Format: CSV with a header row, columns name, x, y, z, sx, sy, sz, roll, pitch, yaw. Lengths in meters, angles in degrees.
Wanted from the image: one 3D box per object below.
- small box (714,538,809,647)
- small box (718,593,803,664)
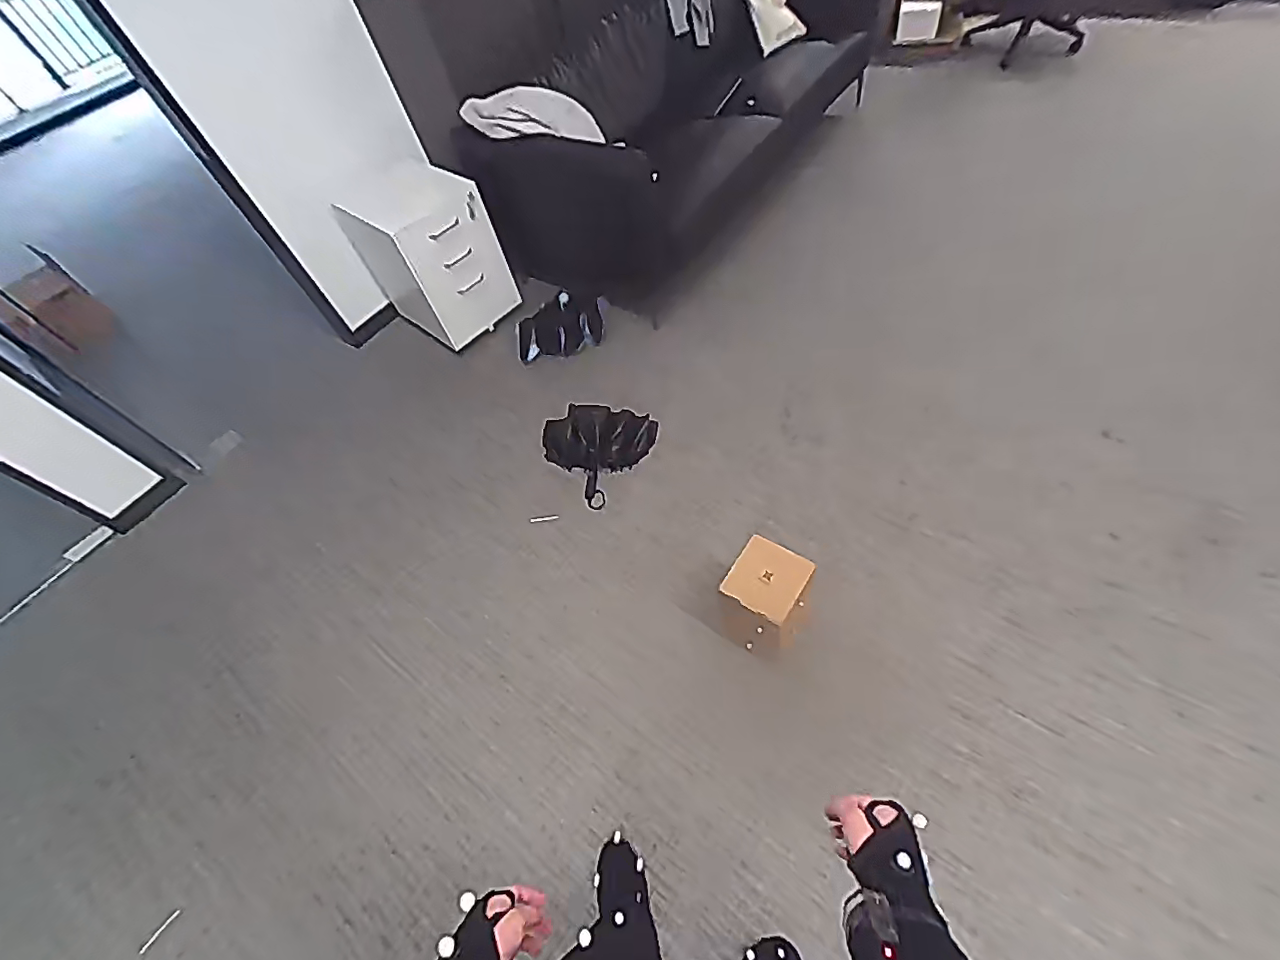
name,x,y,z,sx,sy,sz,roll,pitch,yaw
small box,0.300,0.282,1.340,0.168,0.176,0.179,26,63,25
small box,0.330,0.373,1.471,0.168,0.176,0.179,24,64,25
